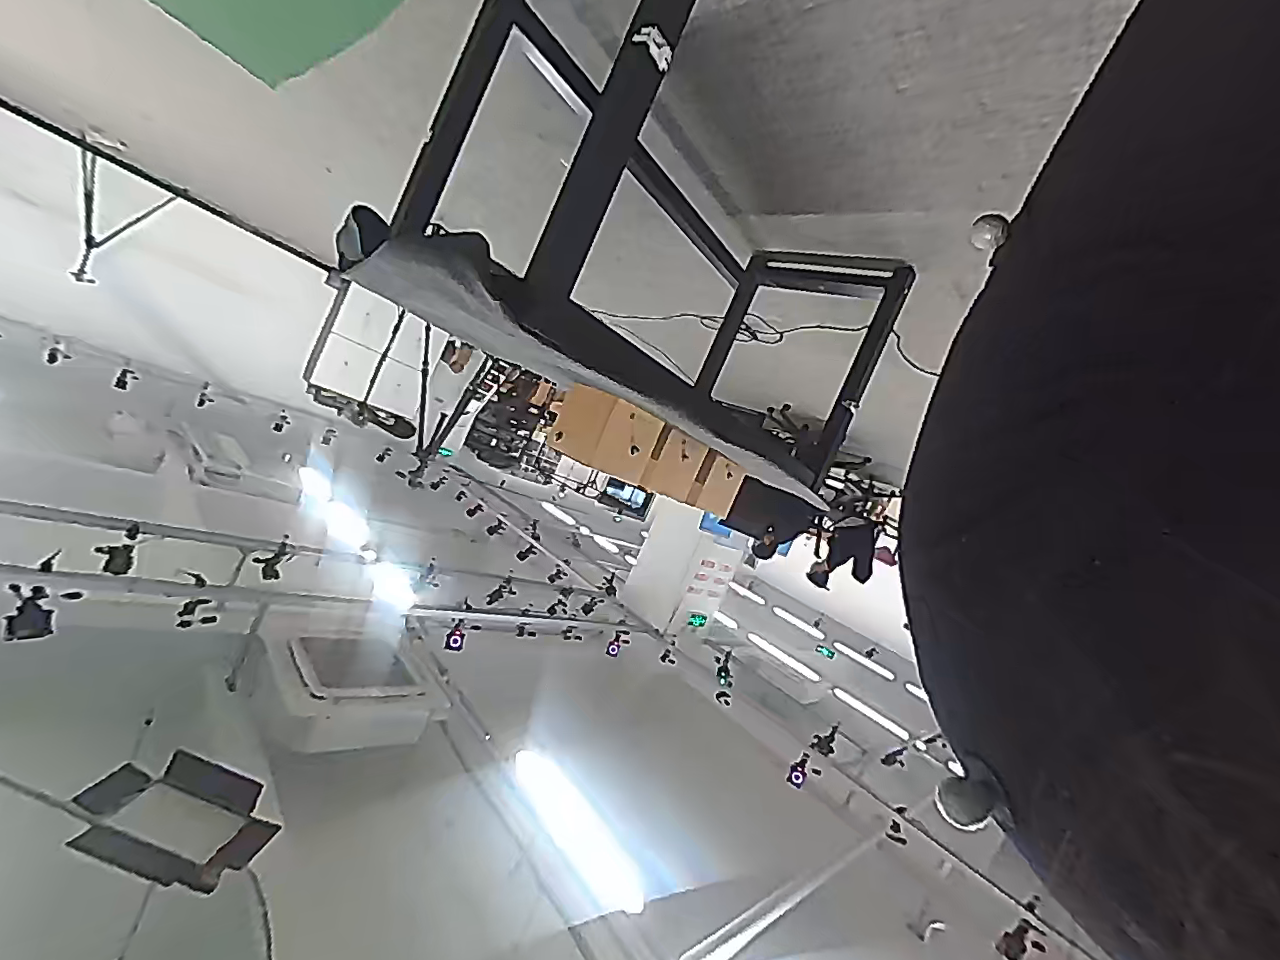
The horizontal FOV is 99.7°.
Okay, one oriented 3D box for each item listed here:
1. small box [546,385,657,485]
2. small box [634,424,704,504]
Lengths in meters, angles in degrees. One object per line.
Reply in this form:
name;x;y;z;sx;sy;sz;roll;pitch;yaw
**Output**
small box;-0.082;-0.107;1.254;0.179;0.176;0.168;26;-177;43
small box;0.038;-0.057;1.437;0.179;0.176;0.168;25;-178;44
